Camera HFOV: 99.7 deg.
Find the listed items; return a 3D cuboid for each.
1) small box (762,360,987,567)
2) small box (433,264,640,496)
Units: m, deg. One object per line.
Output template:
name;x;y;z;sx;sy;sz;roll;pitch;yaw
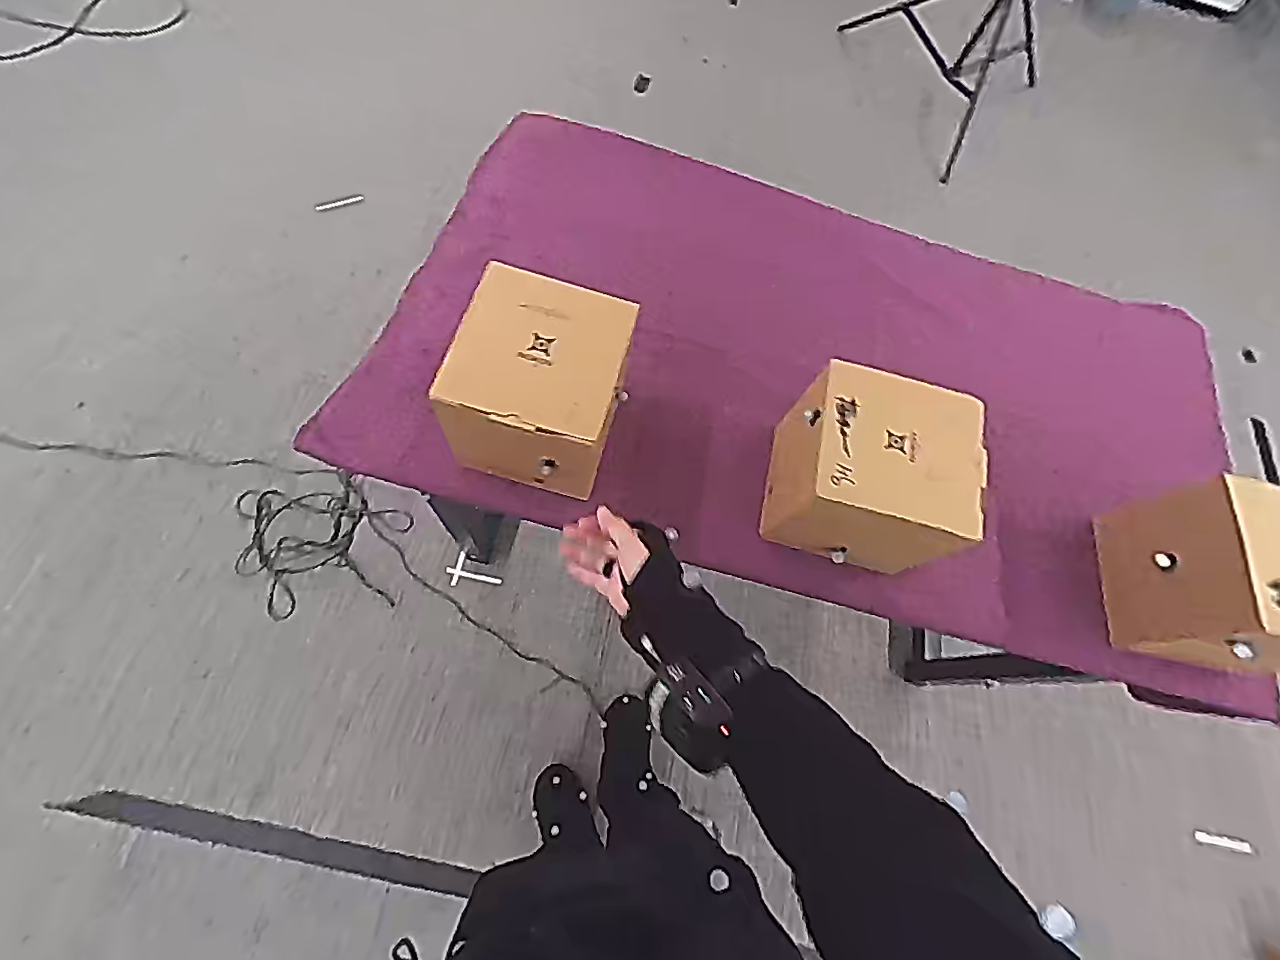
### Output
small box;0.262;-0.007;0.627;0.179;0.176;0.168;16;68;-2
small box;-0.108;-0.100;0.611;0.168;0.176;0.179;16;67;-4
